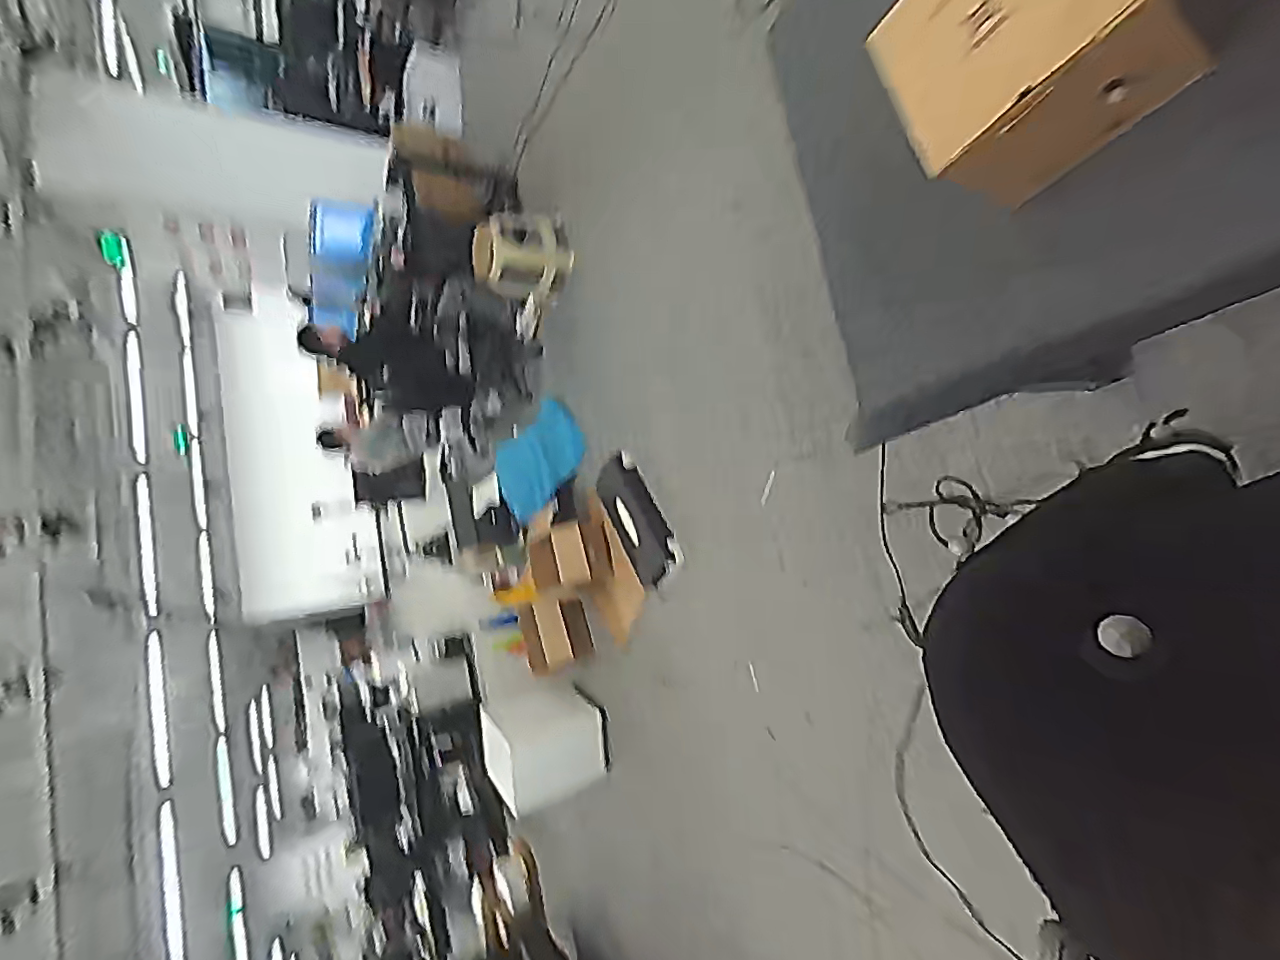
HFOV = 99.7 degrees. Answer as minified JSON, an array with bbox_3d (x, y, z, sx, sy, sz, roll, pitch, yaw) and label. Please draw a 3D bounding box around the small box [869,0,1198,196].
[{"bbox_3d":[0.359,-0.396,0.504,0.168,0.176,0.179,-36,65,53],"label":"small box"}]
